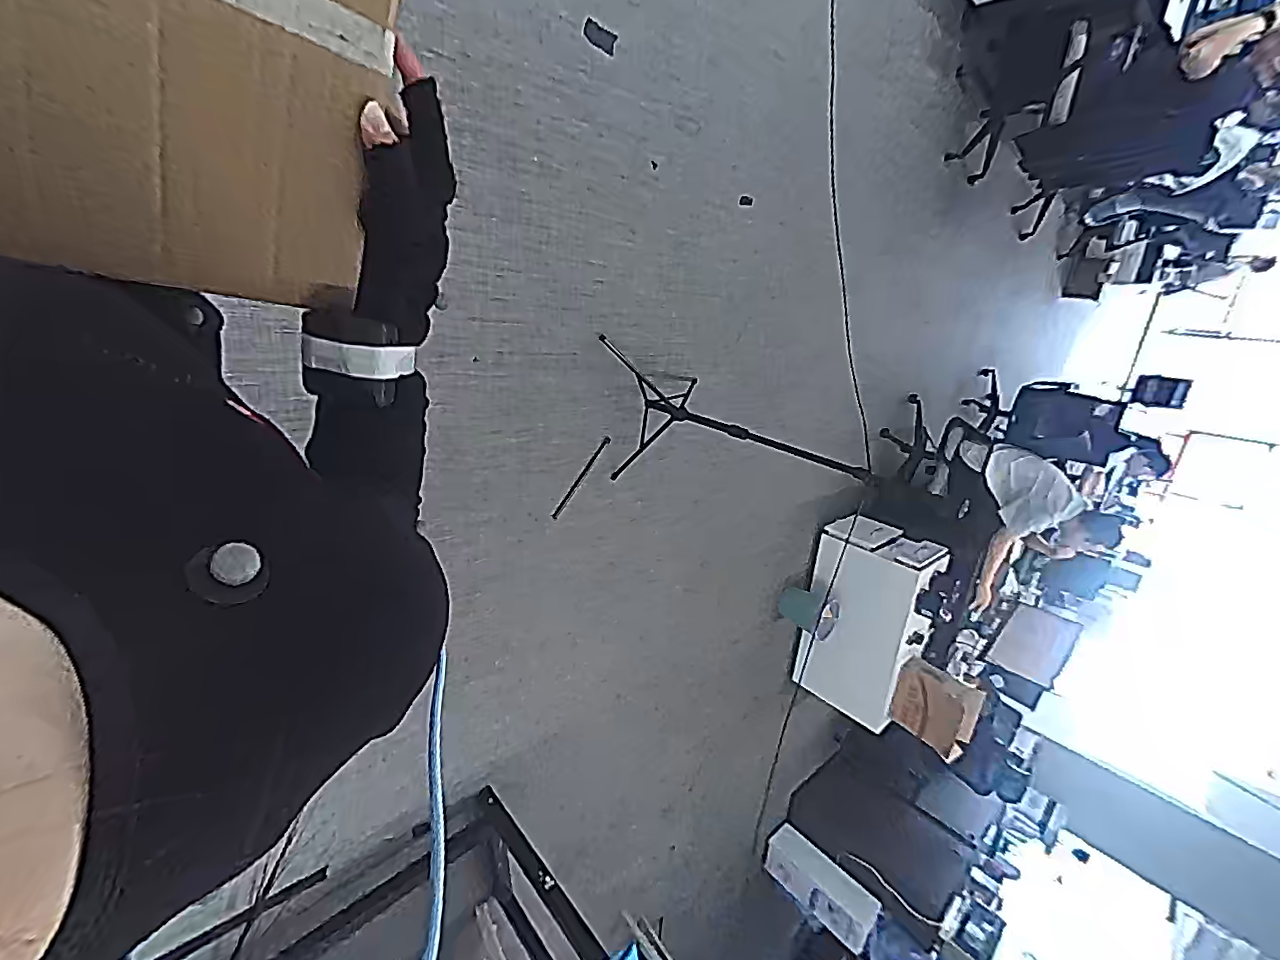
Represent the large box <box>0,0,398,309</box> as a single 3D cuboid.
[{"bbox_3d":[-0.383,-0.321,0.275,0.408,0.320,0.320,-3,129,-44],"label":"large box"}]
